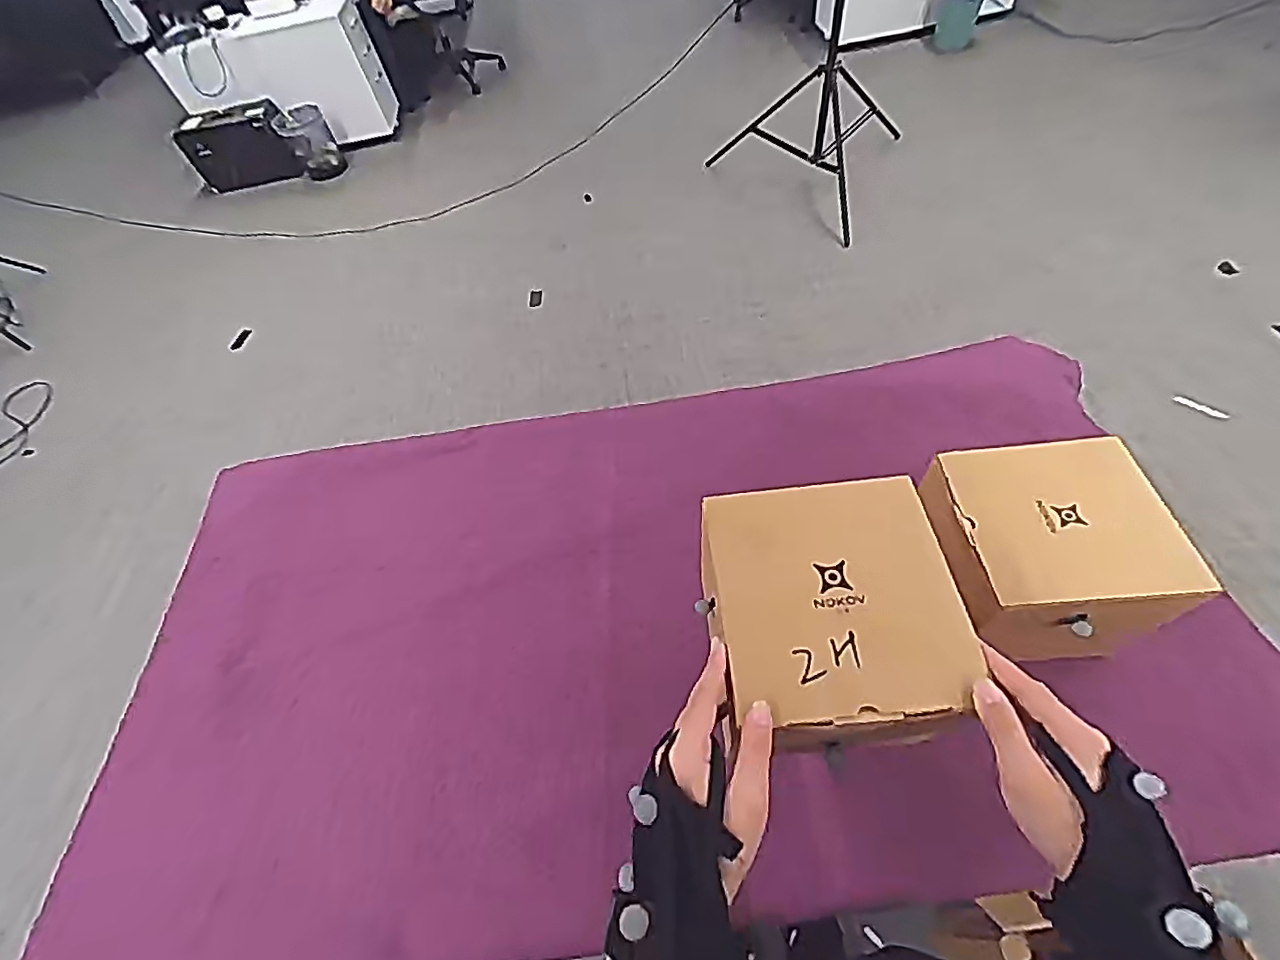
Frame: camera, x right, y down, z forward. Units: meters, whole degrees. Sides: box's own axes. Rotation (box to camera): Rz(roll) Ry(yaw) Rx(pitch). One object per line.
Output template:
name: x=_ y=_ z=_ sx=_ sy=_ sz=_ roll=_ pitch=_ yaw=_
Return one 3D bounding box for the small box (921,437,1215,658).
small box: x=0.395 y=0.078 z=0.559 sx=0.179 sy=0.176 sz=0.168 roll=-6 pitch=54 yaw=6

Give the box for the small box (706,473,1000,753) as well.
small box: x=0.147 y=0.117 z=0.454 sx=0.168 sy=0.176 sz=0.179 roll=-7 pitch=57 yaw=3
